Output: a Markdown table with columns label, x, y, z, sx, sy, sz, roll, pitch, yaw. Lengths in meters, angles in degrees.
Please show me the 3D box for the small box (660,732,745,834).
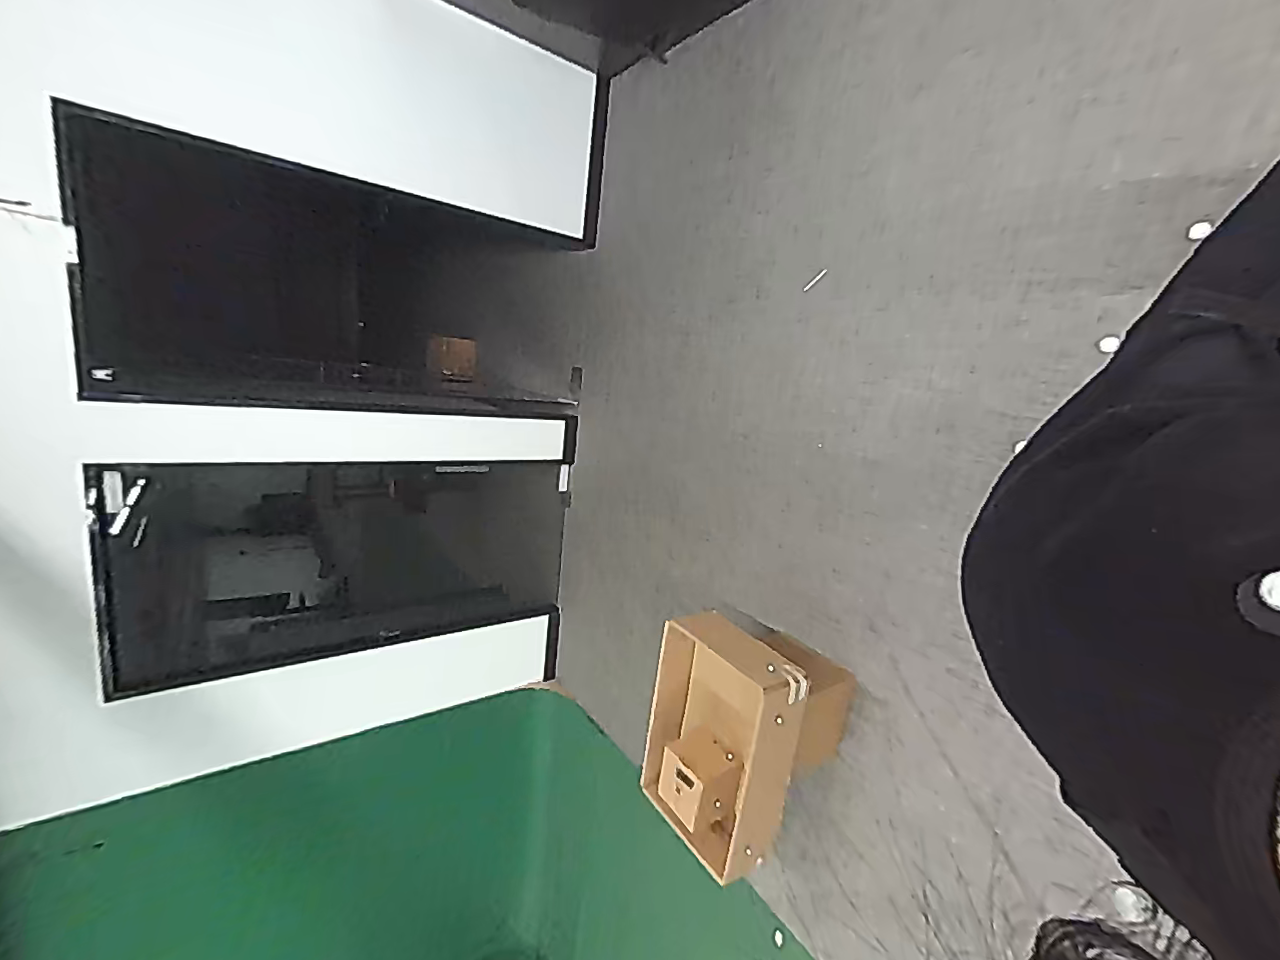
| label | x | y | z | sx | sy | sz | roll | pitch | yaw |
| --- | --- | --- | --- | --- | --- | --- | --- | --- | --- |
| small box | 0.186 | 0.879 | 1.591 | 0.168 | 0.176 | 0.179 | 26 | 112 | 51 |
